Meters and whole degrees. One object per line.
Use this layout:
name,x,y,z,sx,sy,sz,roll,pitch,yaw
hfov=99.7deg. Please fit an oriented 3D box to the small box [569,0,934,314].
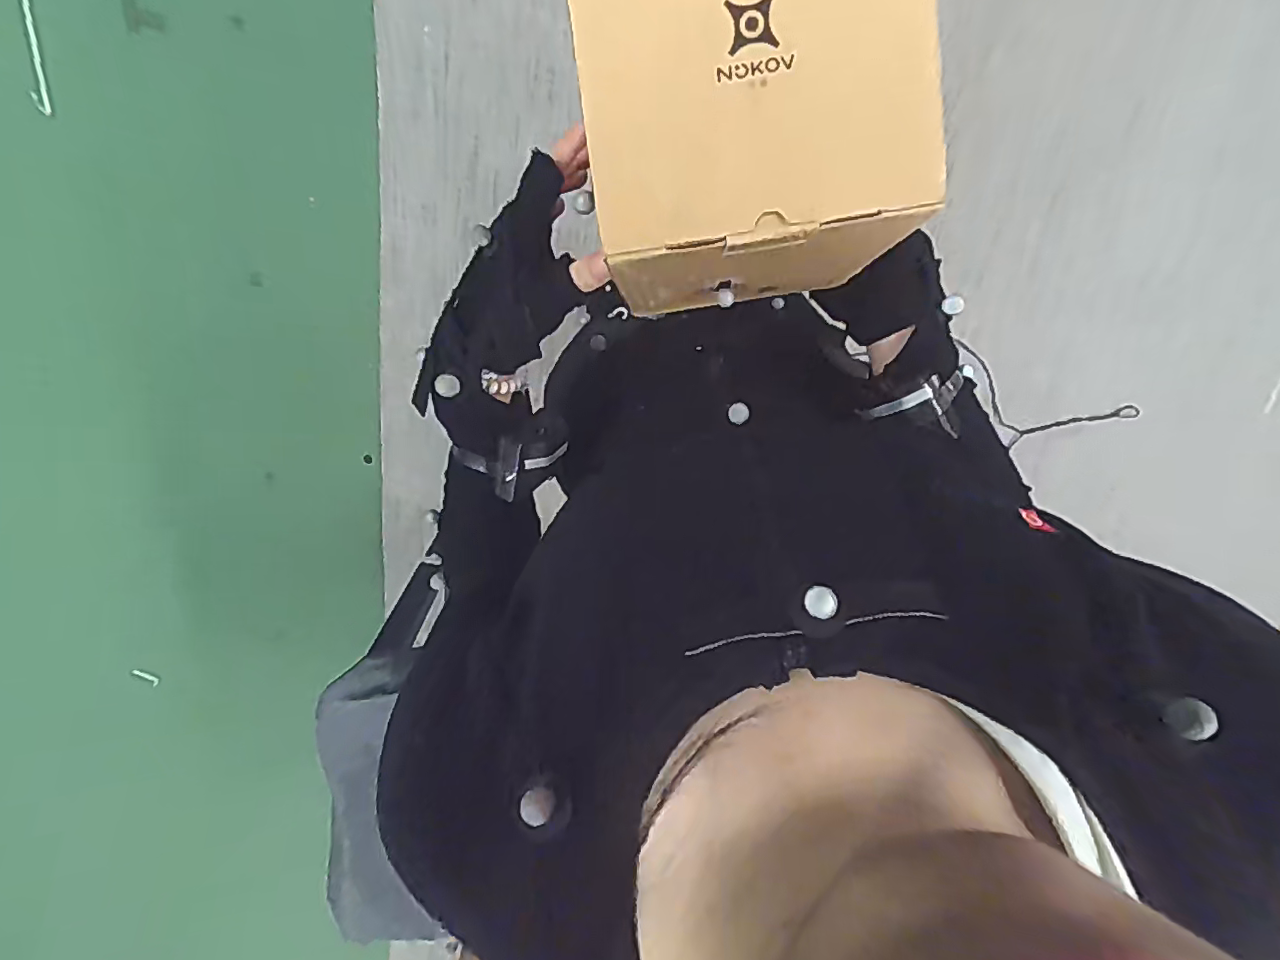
small box,0.055,-0.215,0.335,0.168,0.176,0.179,-8,98,5
